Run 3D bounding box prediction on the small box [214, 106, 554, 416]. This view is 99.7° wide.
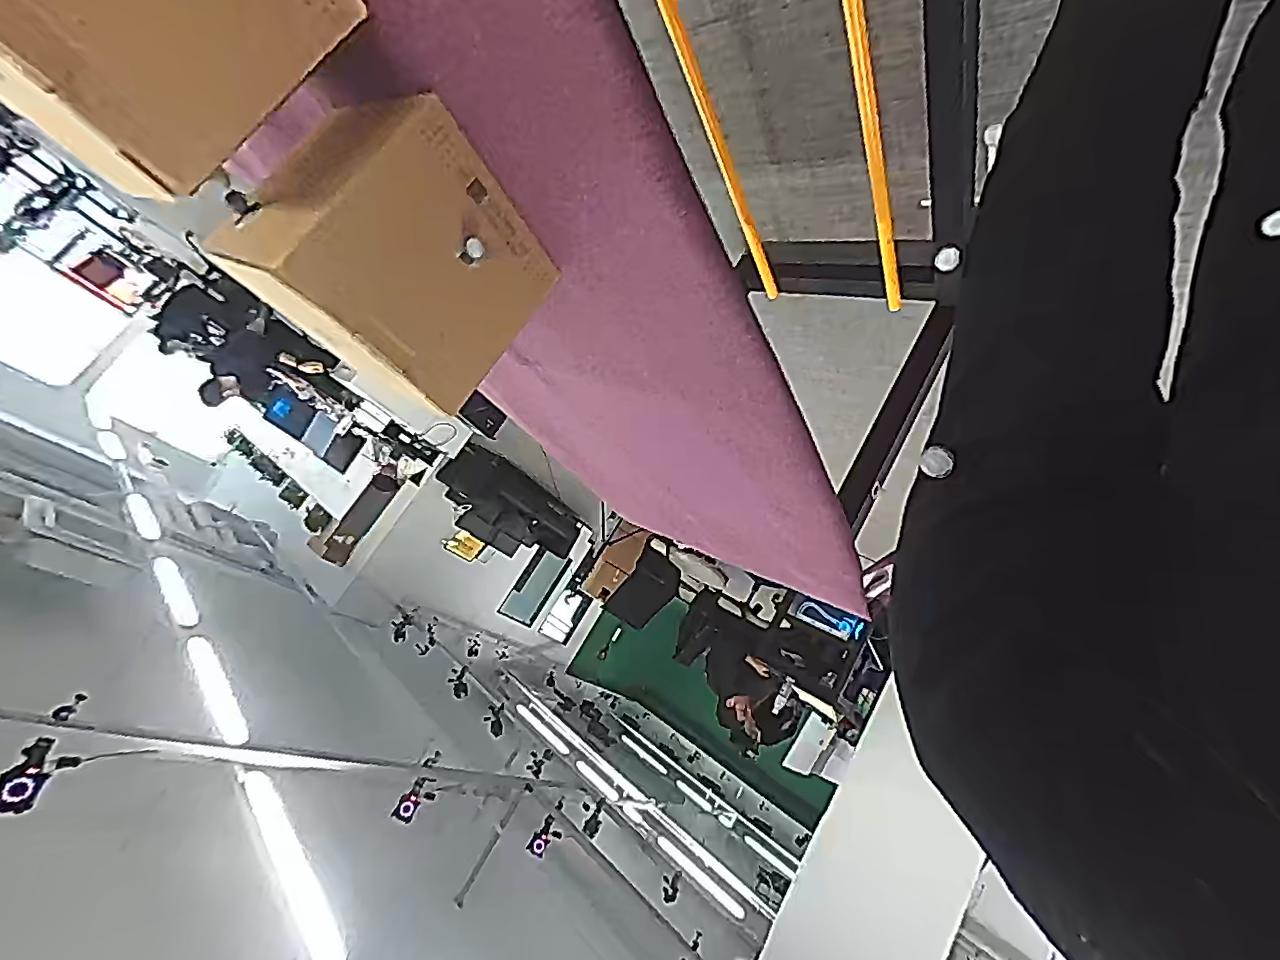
[{"bbox_3d":[-0.210,-0.187,0.470,0.179,0.176,0.168,24,165,36],"label":"small box"}]

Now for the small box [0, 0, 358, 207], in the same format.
[{"bbox_3d":[-0.306,-0.291,0.314,0.179,0.176,0.168,24,165,36],"label":"small box"}]
